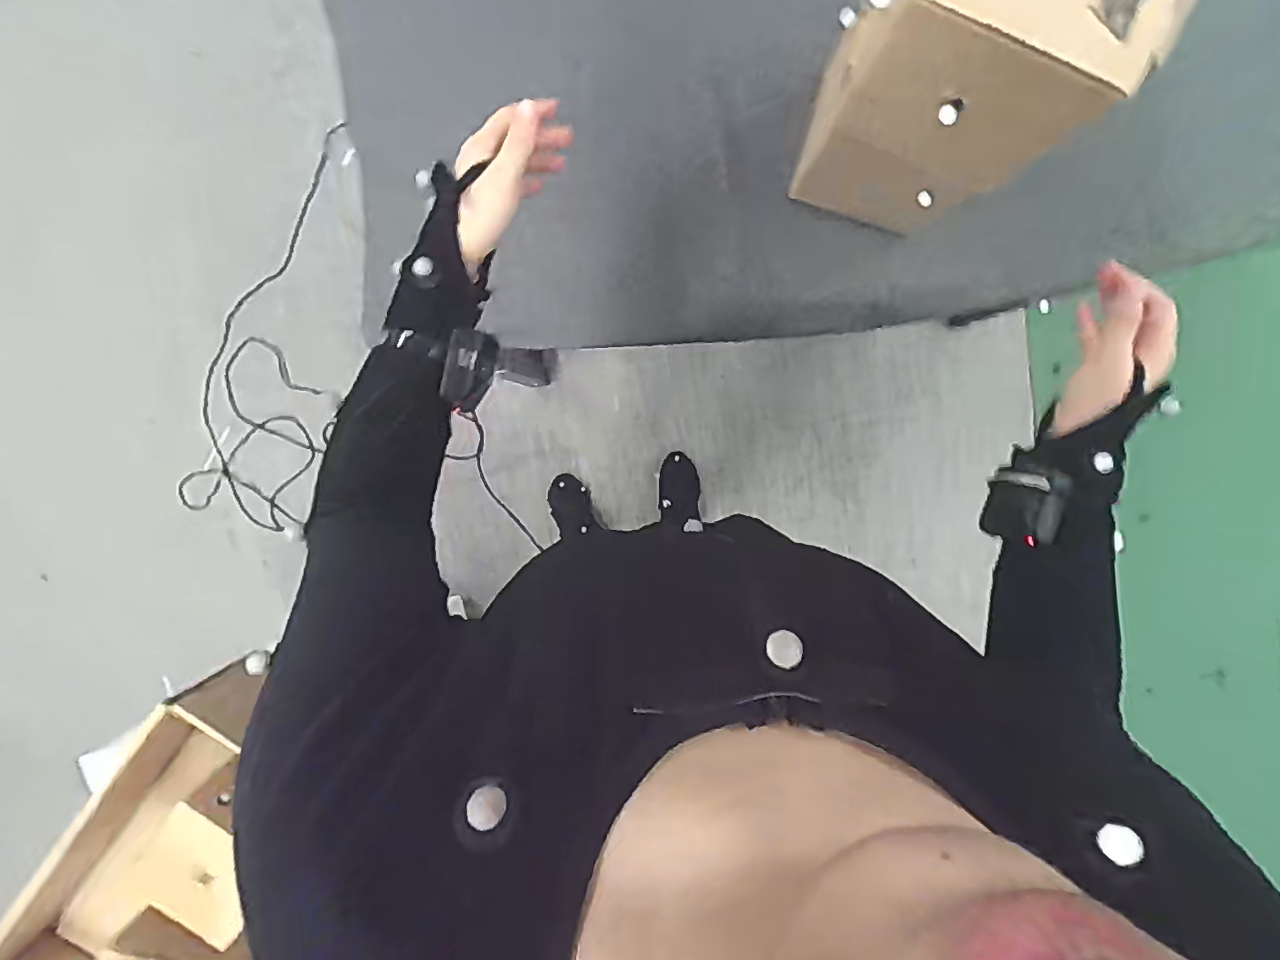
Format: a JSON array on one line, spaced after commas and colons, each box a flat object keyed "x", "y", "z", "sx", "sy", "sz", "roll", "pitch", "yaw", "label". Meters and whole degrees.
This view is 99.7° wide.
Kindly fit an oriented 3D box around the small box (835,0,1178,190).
[{"x": 0.299, "y": -0.379, "z": 0.453, "sx": 0.179, "sy": 0.176, "sz": 0.168, "roll": 24, "pitch": 95, "yaw": -1, "label": "small box"}]
